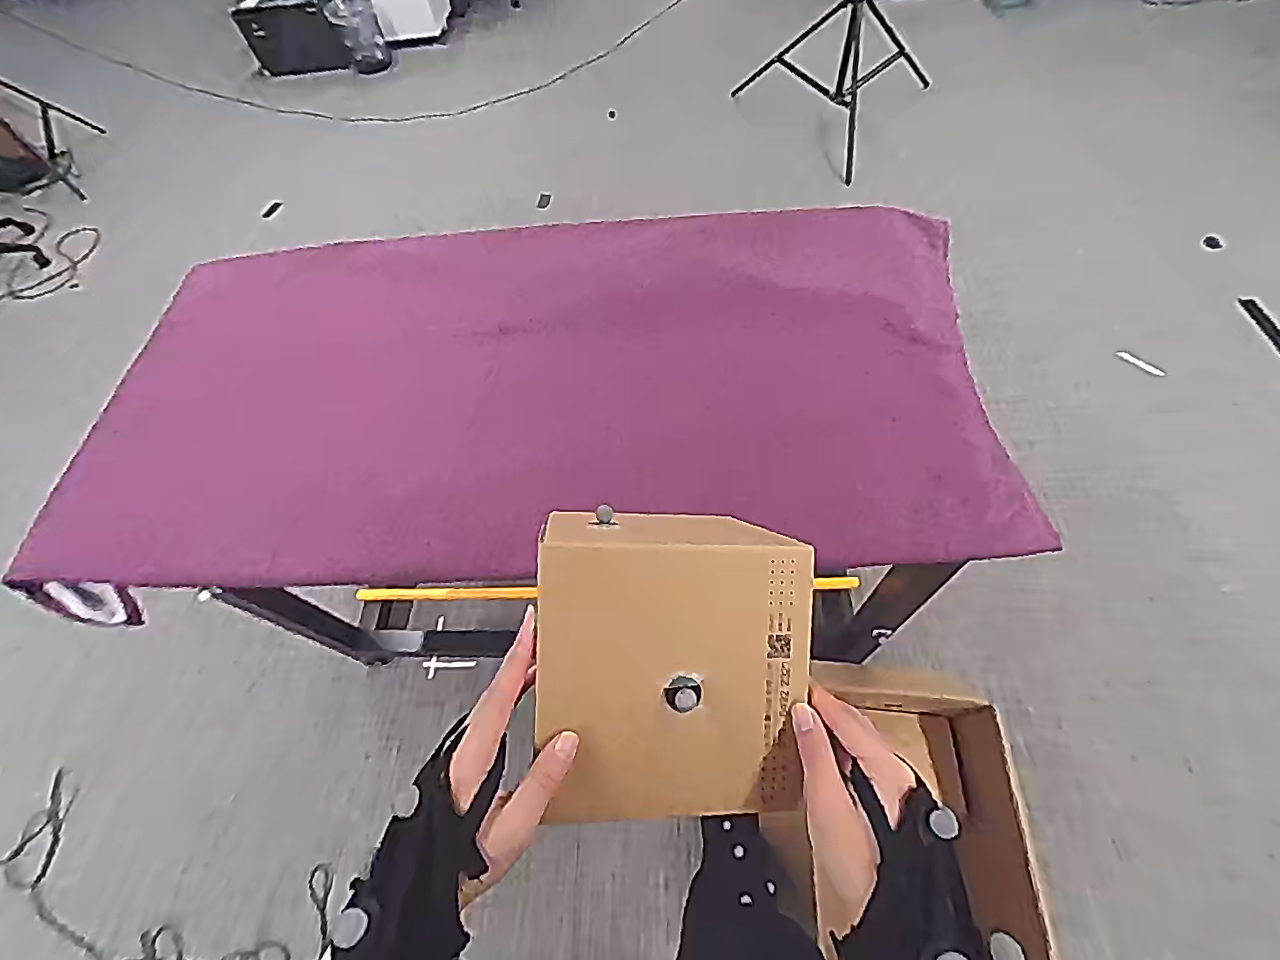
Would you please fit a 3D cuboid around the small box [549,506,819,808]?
[{"bbox_3d":[0.020,0.110,0.409,0.176,0.179,0.168,2,92,-9],"label":"small box"}]
